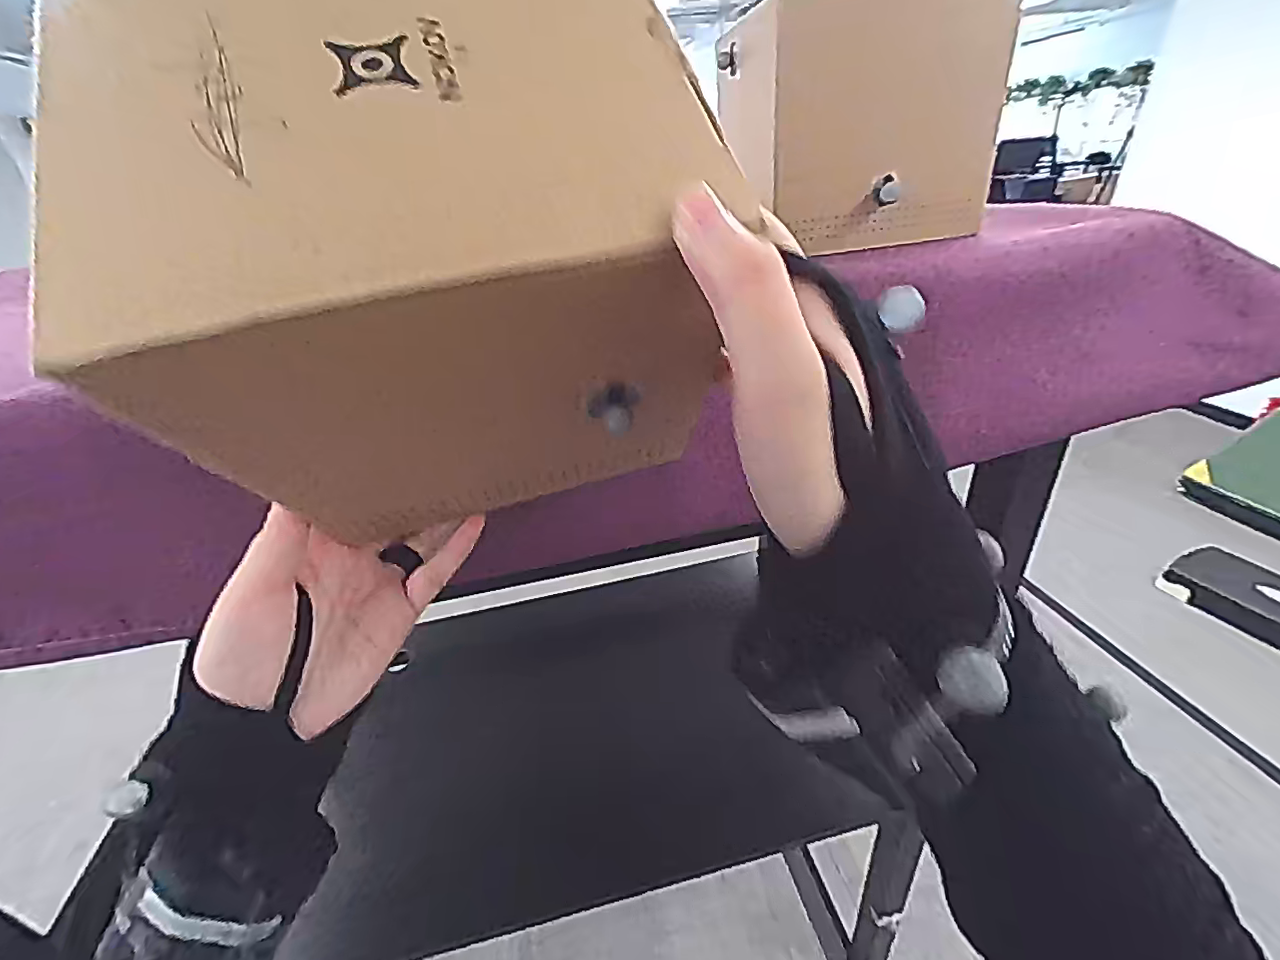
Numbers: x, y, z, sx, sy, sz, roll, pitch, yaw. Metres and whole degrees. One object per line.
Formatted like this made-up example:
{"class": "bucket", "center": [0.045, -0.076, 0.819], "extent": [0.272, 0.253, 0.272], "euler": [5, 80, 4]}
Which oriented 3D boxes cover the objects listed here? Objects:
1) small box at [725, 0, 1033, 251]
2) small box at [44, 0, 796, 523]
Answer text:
{"class": "small box", "center": [0.175, -0.301, 0.456], "extent": [0.179, 0.176, 0.168], "euler": [-8, 29, -3]}
{"class": "small box", "center": [-0.069, -0.096, 0.224], "extent": [0.179, 0.176, 0.168], "euler": [-15, 72, -10]}
